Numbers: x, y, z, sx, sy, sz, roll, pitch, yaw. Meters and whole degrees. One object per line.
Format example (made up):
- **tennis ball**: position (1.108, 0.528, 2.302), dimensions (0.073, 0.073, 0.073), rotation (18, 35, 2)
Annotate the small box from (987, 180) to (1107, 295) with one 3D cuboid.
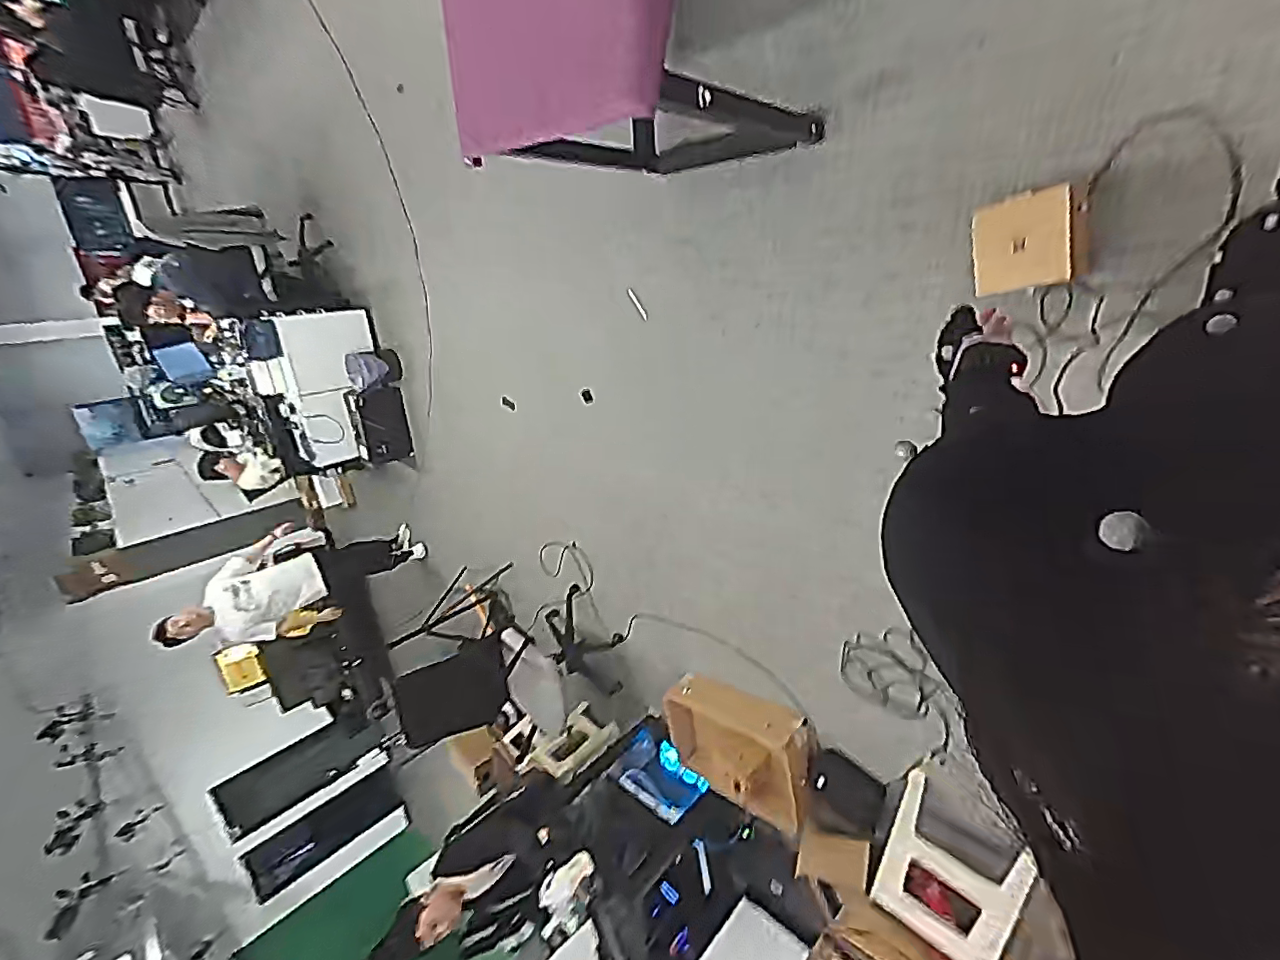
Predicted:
- **small box**: position (0.841, -0.494, 1.117), dimensions (0.168, 0.176, 0.179), rotation (2, 109, 51)
